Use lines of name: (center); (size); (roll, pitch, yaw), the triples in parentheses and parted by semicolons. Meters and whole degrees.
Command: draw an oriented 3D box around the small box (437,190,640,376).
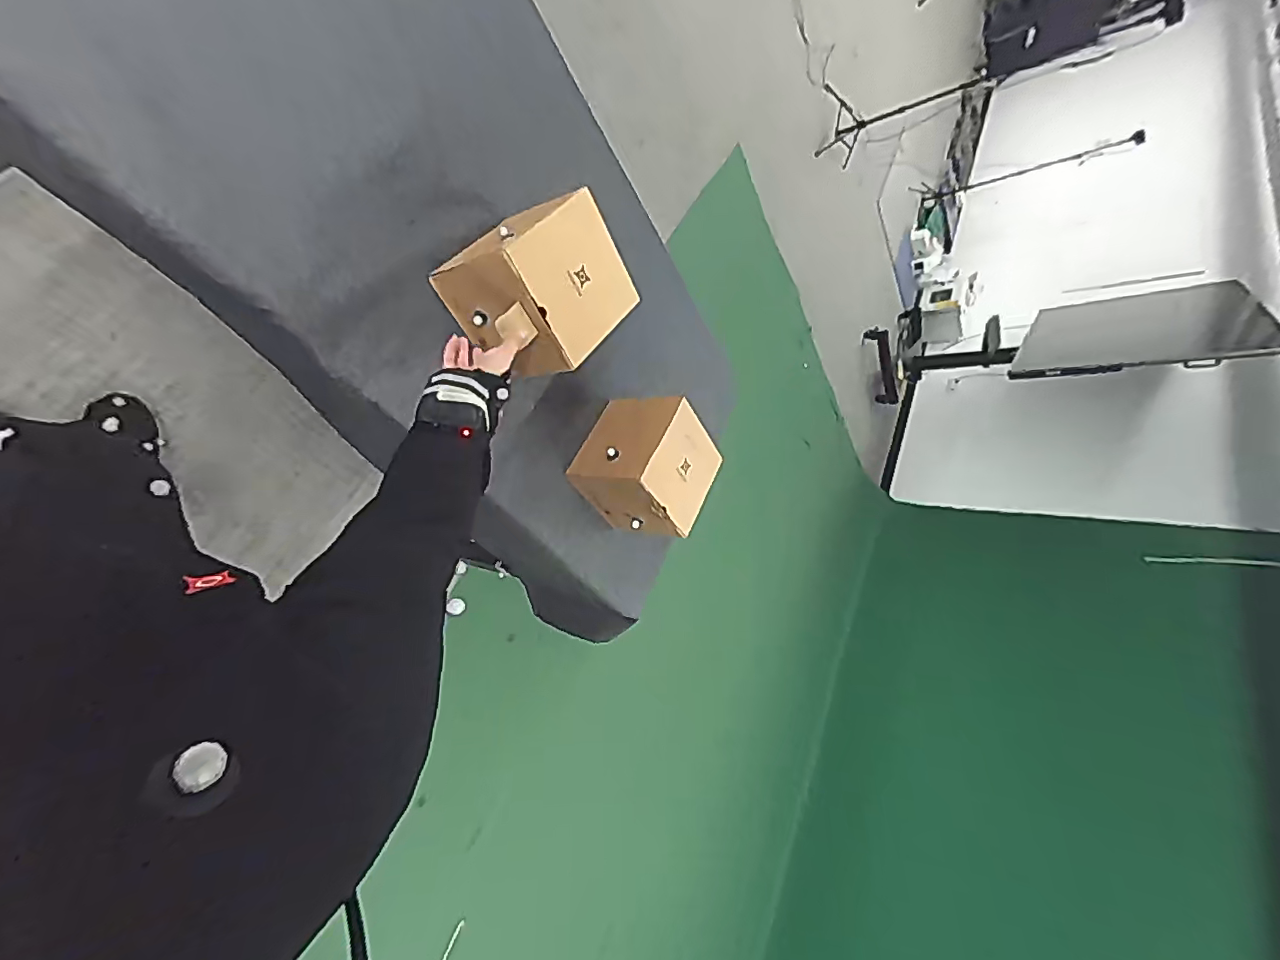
small box: (-0.135, -0.259, 0.735); (0.179, 0.176, 0.168); (-55, 132, -31)

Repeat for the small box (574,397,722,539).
small box: (0.012, -0.020, 0.930); (0.168, 0.176, 0.179); (52, 53, -40)
